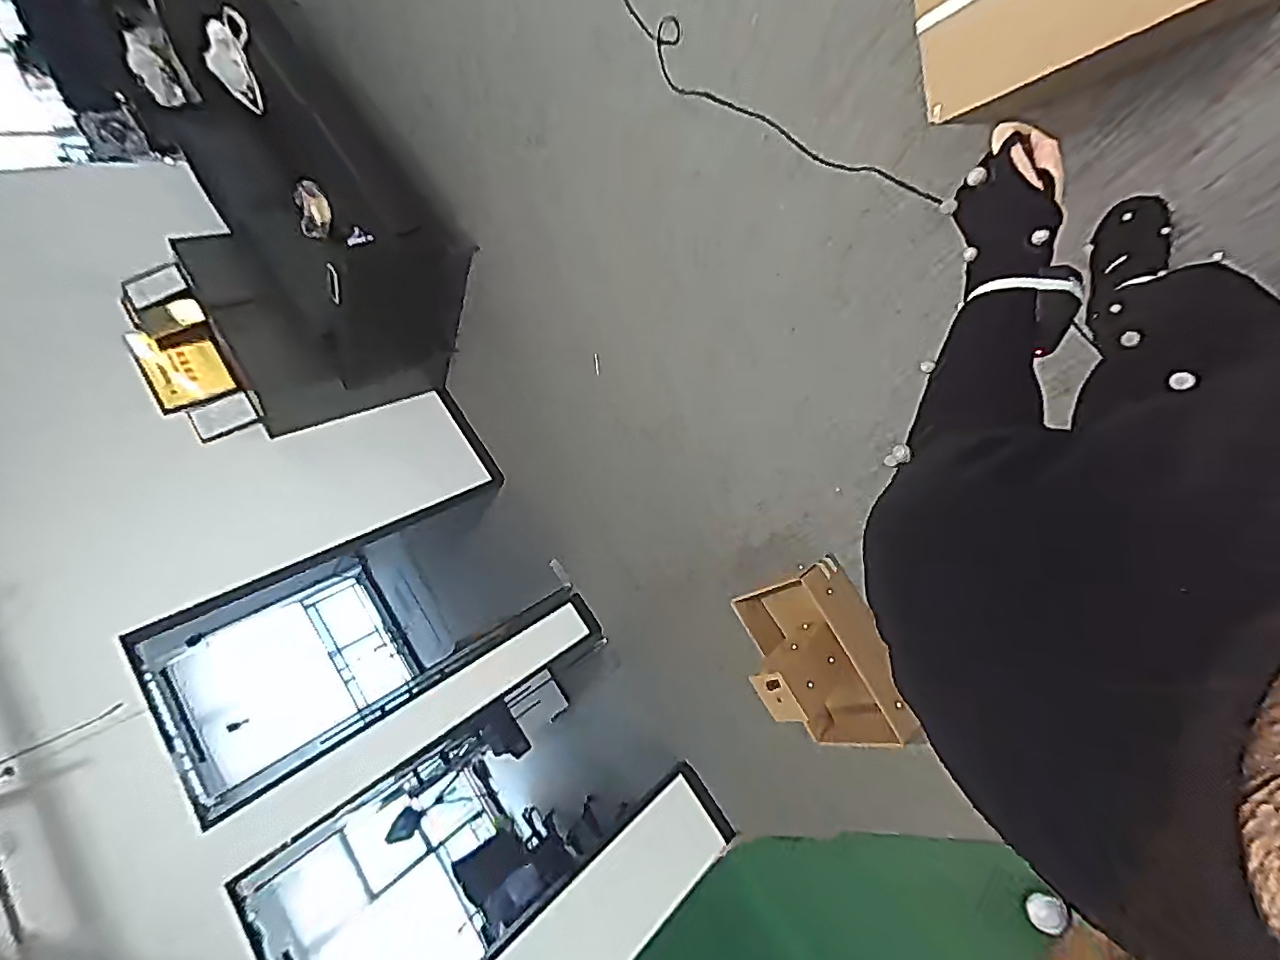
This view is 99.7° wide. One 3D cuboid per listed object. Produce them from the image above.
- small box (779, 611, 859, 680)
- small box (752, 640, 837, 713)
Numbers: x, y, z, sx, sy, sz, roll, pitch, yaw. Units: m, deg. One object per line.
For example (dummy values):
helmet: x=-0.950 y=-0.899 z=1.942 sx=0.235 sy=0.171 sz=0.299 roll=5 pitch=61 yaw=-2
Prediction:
small box: x=0.635 y=0.590 z=1.910 sx=0.179 sy=0.176 sz=0.168 roll=58 pitch=144 yaw=6
small box: x=0.519 y=0.654 z=1.813 sx=0.179 sy=0.176 sz=0.168 roll=57 pitch=144 yaw=4
